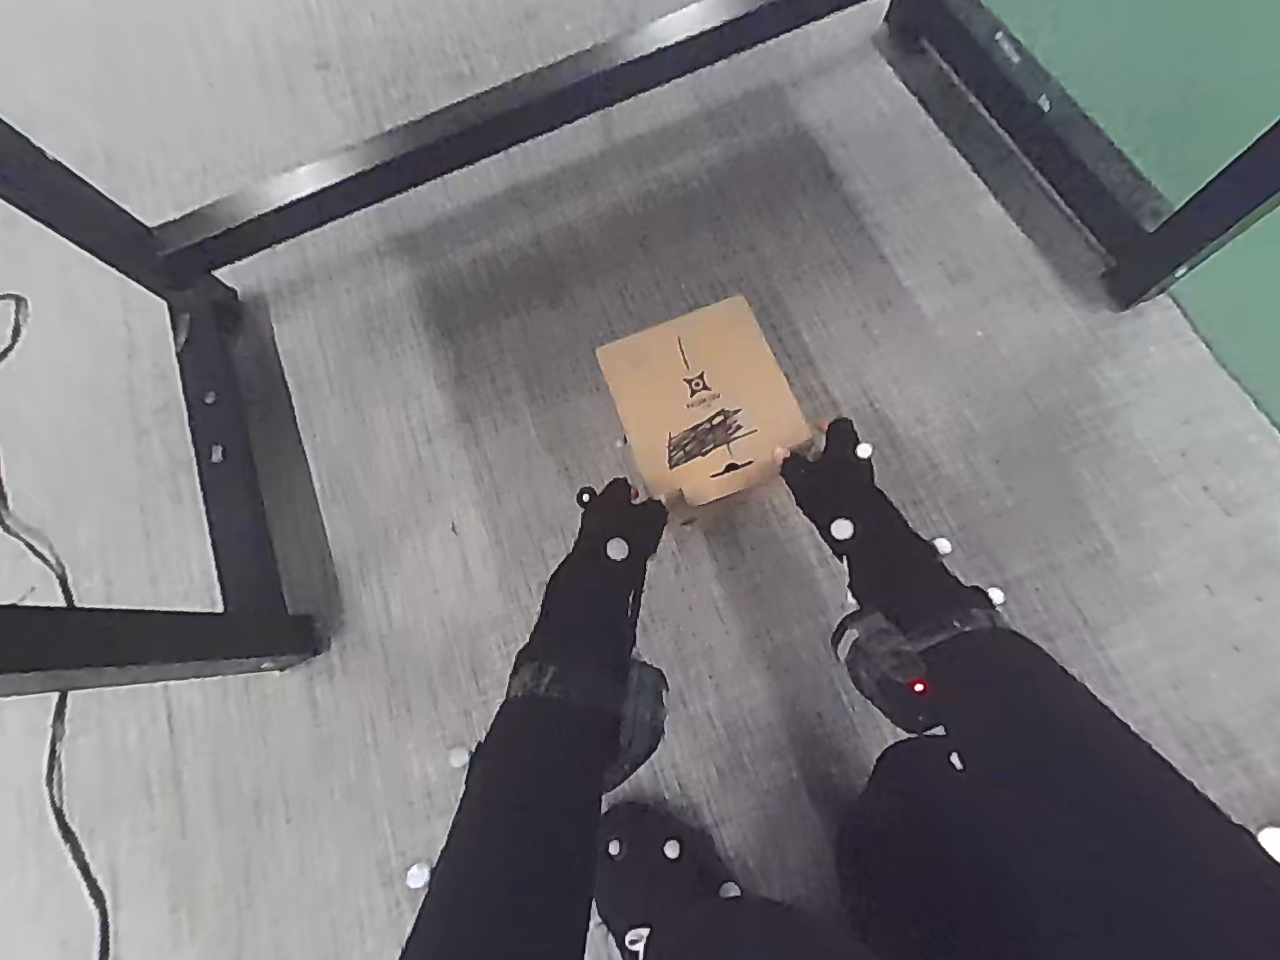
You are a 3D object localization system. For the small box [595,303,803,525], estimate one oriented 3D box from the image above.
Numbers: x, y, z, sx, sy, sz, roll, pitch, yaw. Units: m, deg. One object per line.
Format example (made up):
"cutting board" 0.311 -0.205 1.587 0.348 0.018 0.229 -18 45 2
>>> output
"small box" 0.065 -0.058 0.611 0.168 0.176 0.179 -20 72 1
